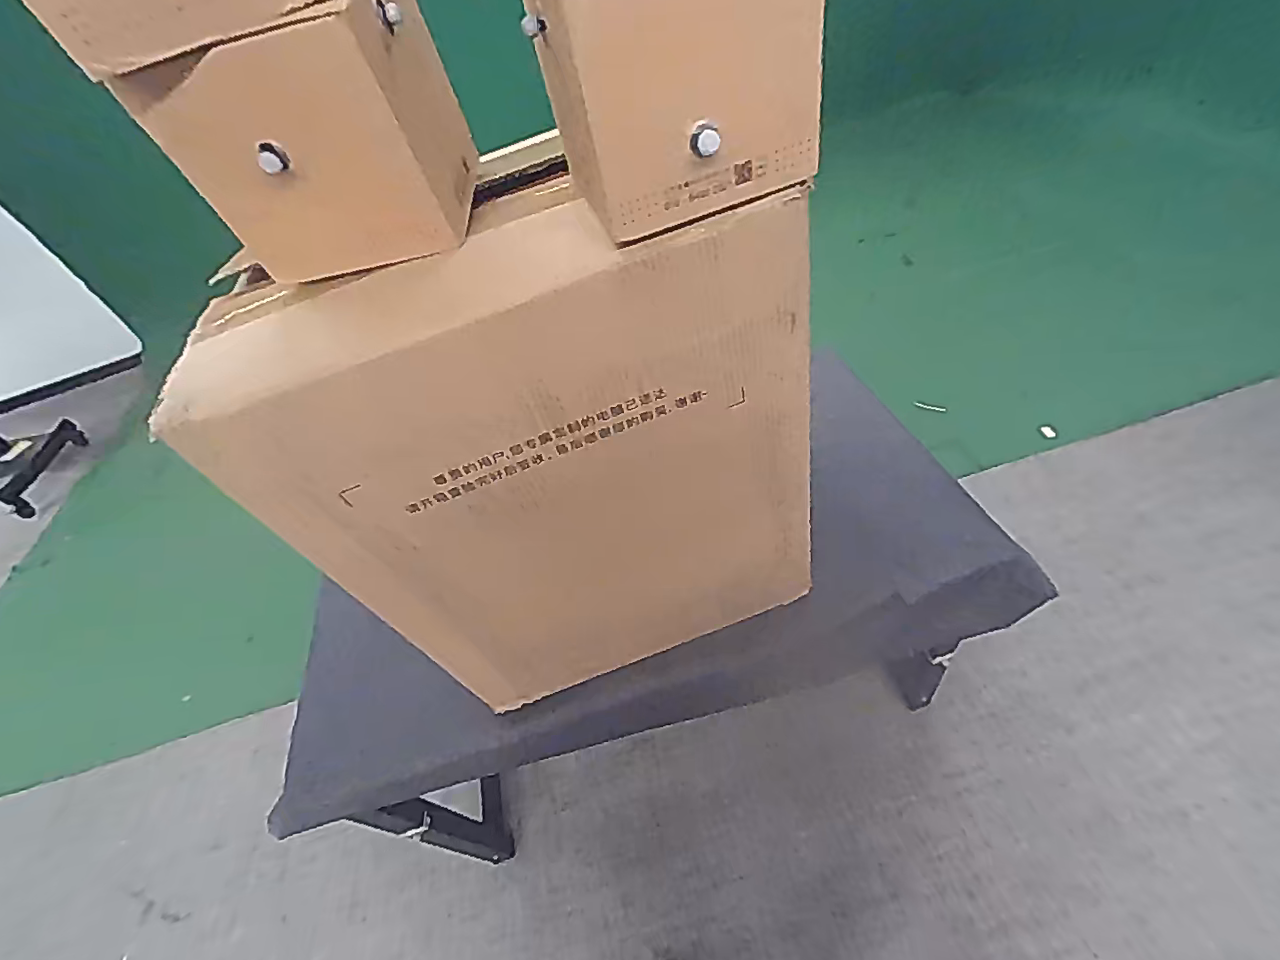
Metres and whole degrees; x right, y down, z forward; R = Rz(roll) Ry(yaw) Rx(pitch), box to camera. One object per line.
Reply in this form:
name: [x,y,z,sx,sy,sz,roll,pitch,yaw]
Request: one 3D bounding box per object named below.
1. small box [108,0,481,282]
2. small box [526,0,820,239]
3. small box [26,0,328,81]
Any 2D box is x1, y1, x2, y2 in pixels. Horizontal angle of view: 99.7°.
small box: [-0.258,-0.294,0.456,0.179,0.176,0.168,-10,56,7]
small box: [0.017,-0.311,0.406,0.168,0.176,0.179,-20,48,-2]
small box: [-0.305,-0.379,0.325,0.179,0.176,0.168,-24,56,-5]
